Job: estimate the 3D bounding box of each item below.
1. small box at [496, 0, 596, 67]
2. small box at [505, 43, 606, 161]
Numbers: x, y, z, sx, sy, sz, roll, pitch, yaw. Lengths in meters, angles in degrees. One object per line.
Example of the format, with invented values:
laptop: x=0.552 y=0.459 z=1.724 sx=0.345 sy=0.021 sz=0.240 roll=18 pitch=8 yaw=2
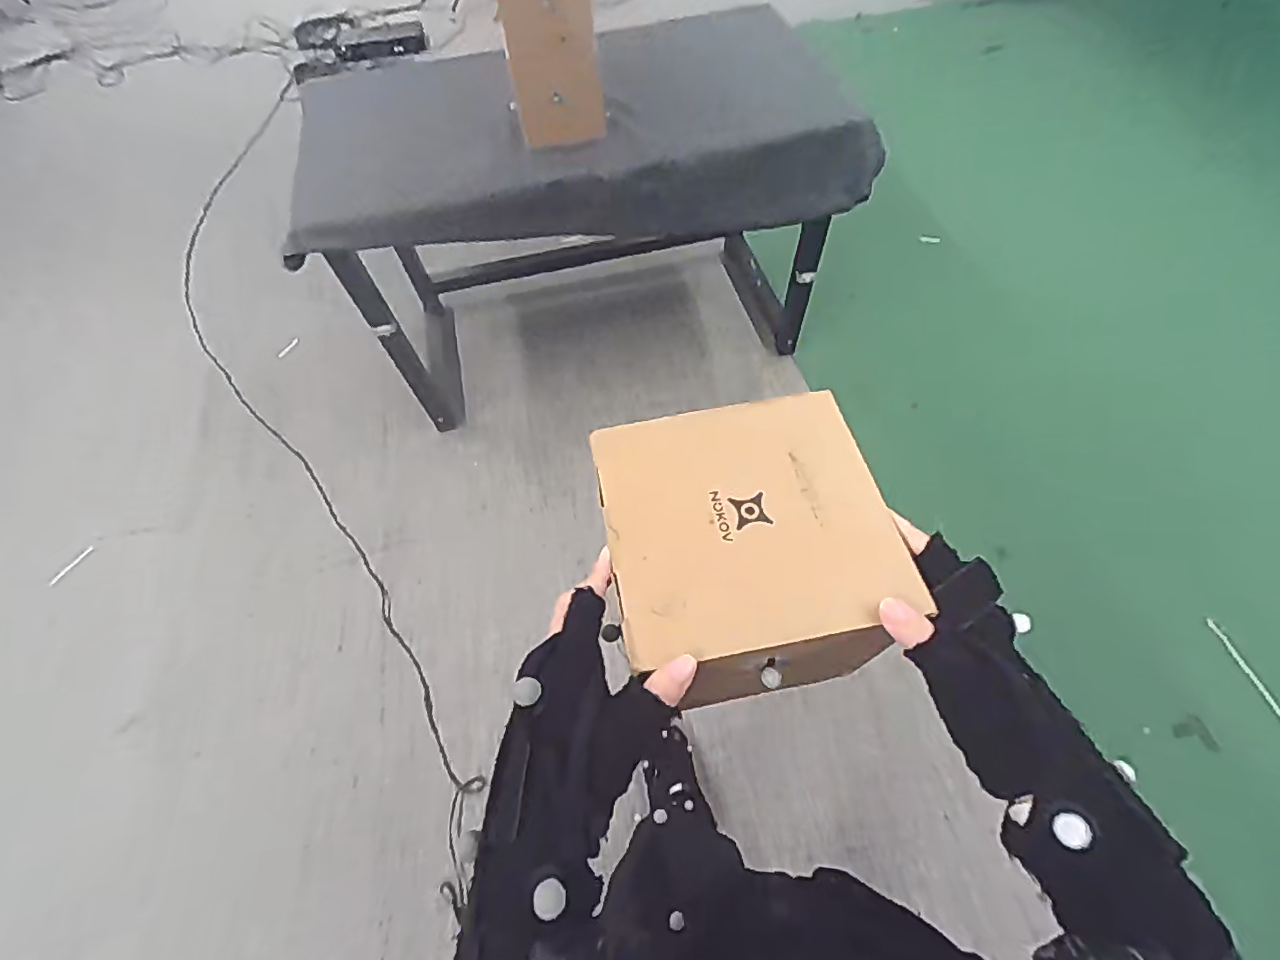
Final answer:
small box: x=-0.182 y=-0.893 z=0.997 sx=0.168 sy=0.176 sz=0.179 roll=-12 pitch=60 yaw=-4
small box: x=-0.171 y=-0.804 z=1.133 sx=0.179 sy=0.176 sz=0.168 roll=-12 pitch=59 yaw=-3
